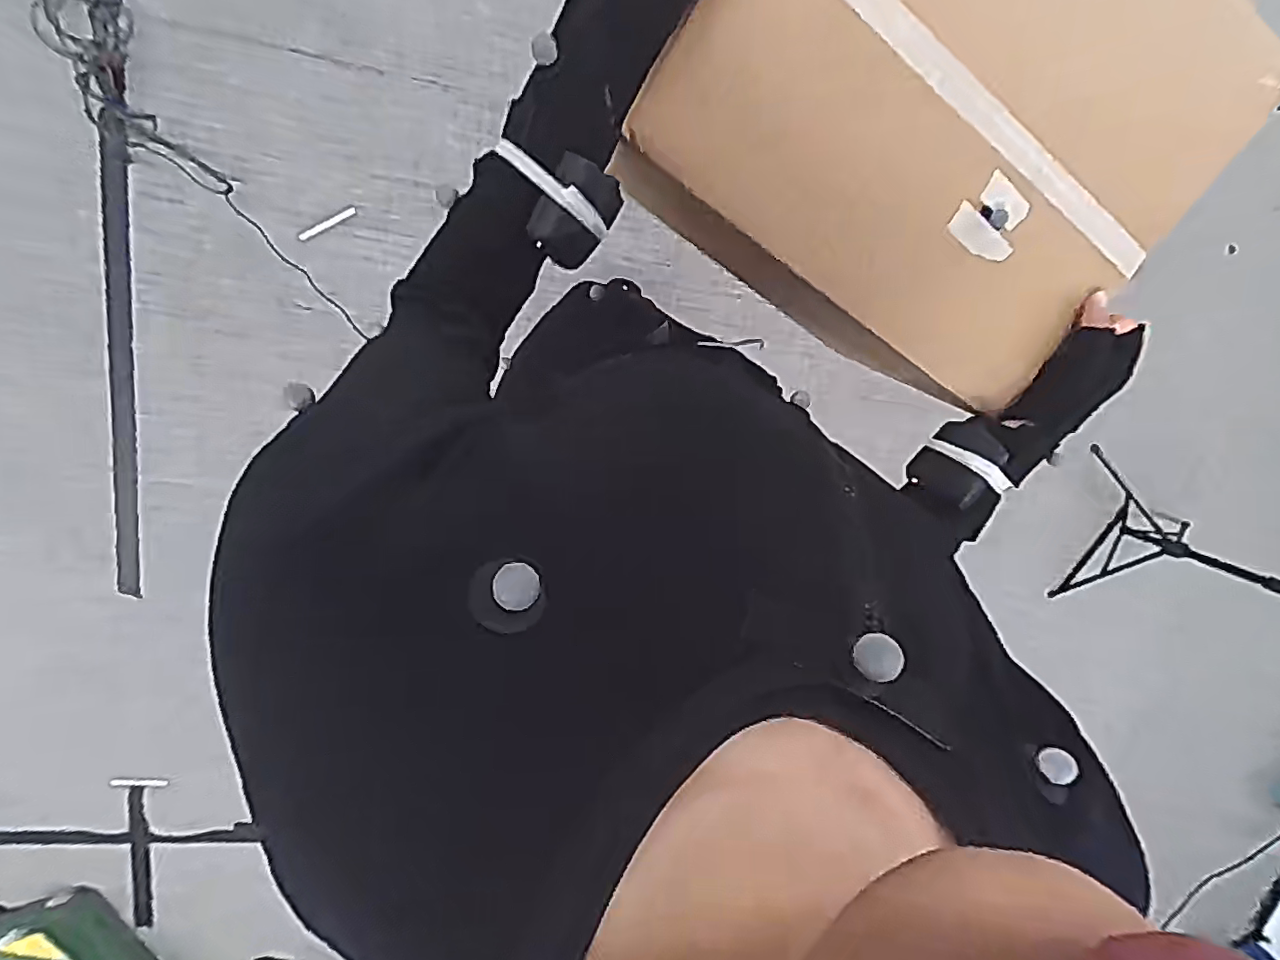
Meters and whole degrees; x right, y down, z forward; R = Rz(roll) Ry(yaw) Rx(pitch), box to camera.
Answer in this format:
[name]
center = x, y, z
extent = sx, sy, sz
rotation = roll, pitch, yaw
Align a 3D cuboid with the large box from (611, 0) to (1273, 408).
[large box]
center = 0.223, -0.336, 0.532
extent = 0.408, 0.320, 0.320
rotation = 30, 109, -19
